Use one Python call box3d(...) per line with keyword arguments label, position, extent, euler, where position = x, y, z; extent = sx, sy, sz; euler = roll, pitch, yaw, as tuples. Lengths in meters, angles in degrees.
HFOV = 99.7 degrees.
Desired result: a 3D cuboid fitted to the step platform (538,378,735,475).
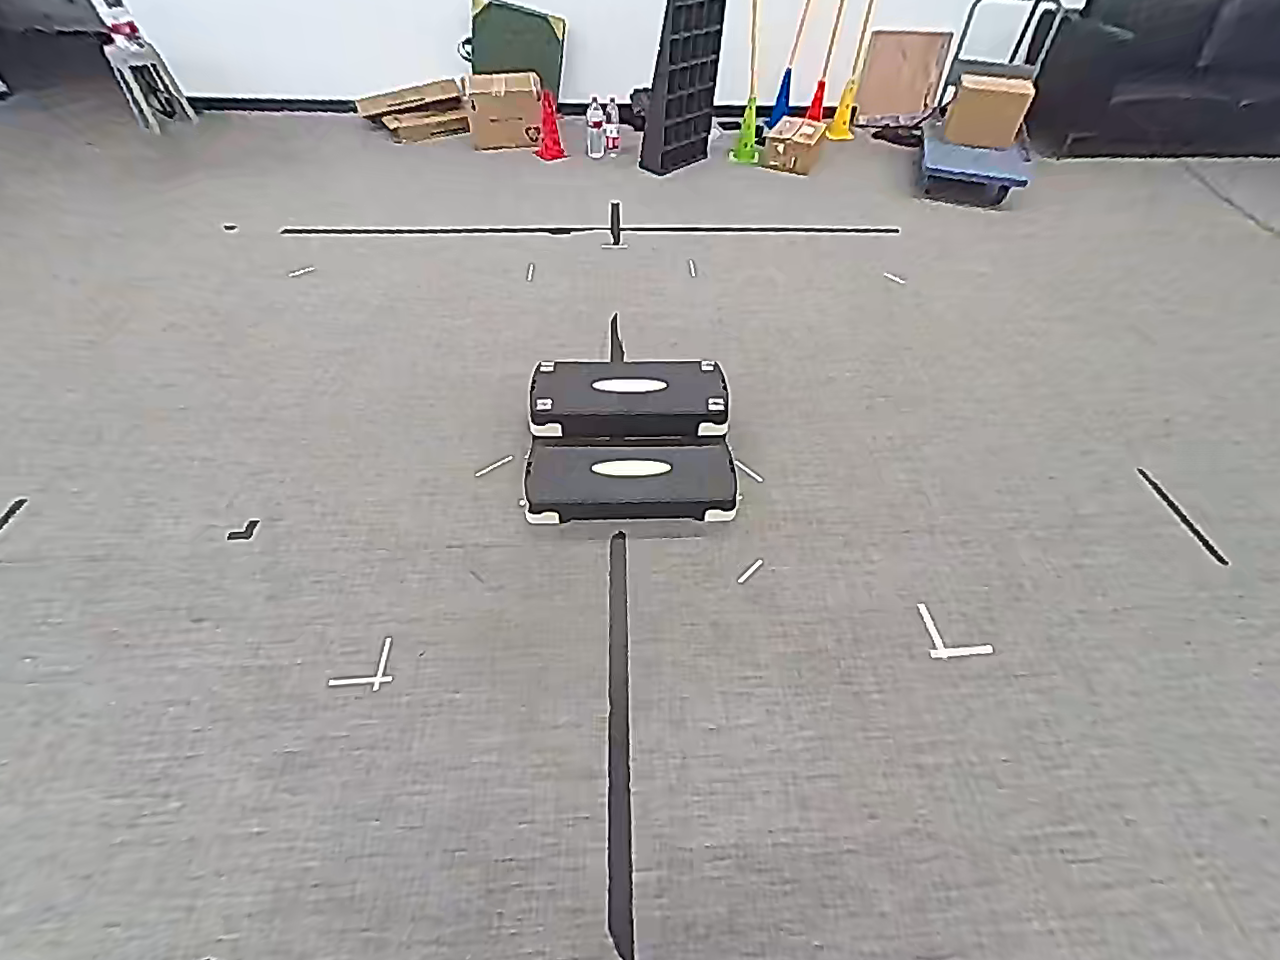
box3d(label="step platform", position=(-0.011, -0.195, 1.906), extent=(0.684, 0.204, 0.286), euler=(3, 48, 0))
